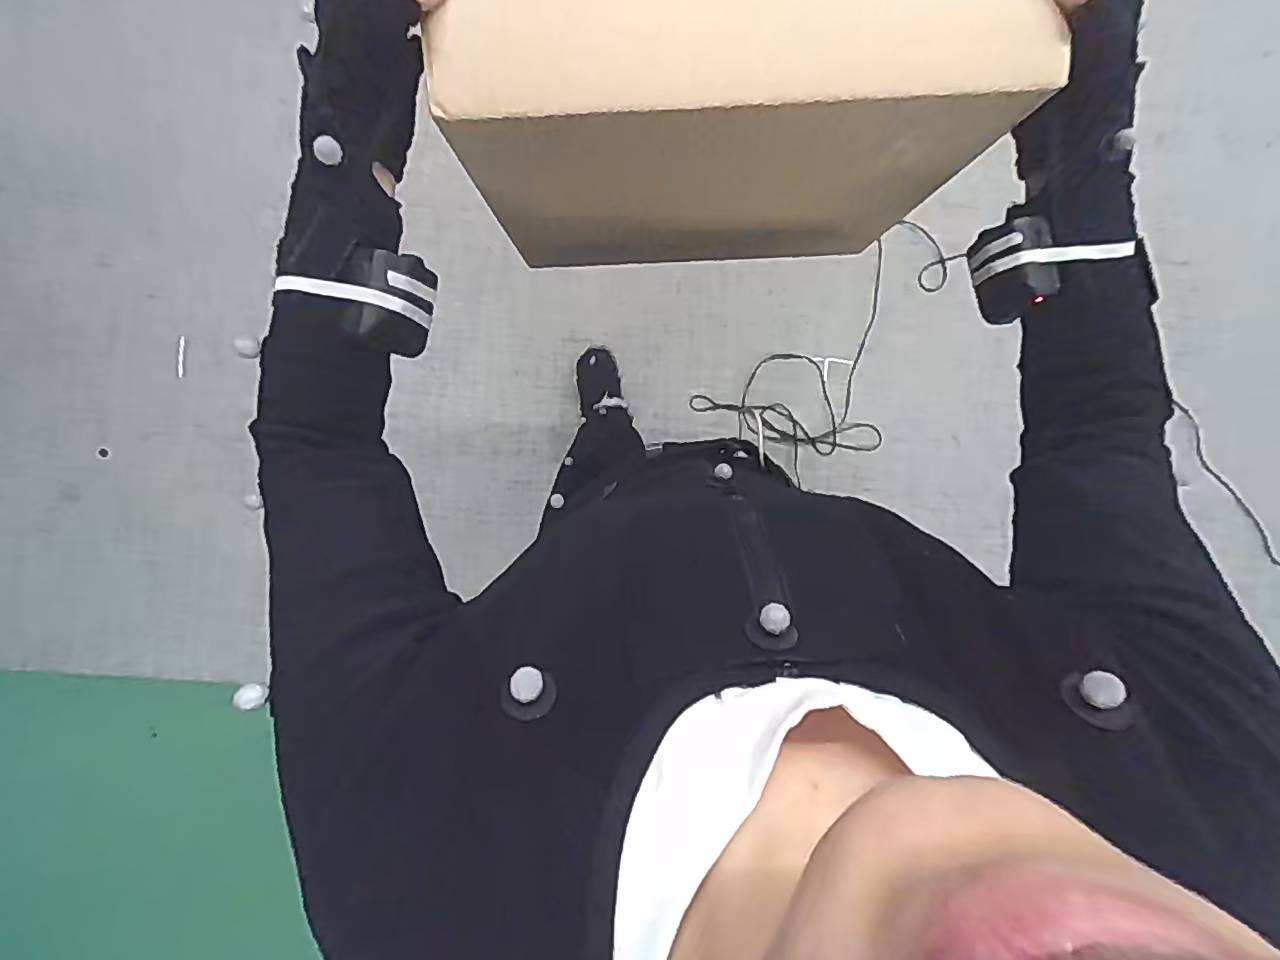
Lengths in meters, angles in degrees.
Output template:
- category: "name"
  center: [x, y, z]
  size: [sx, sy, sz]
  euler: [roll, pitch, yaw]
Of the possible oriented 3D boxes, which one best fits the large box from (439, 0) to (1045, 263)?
- category: "large box"
  center: [0.056, -0.413, 0.493]
  size: [0.408, 0.320, 0.320]
  euler: [-4, 95, -1]
